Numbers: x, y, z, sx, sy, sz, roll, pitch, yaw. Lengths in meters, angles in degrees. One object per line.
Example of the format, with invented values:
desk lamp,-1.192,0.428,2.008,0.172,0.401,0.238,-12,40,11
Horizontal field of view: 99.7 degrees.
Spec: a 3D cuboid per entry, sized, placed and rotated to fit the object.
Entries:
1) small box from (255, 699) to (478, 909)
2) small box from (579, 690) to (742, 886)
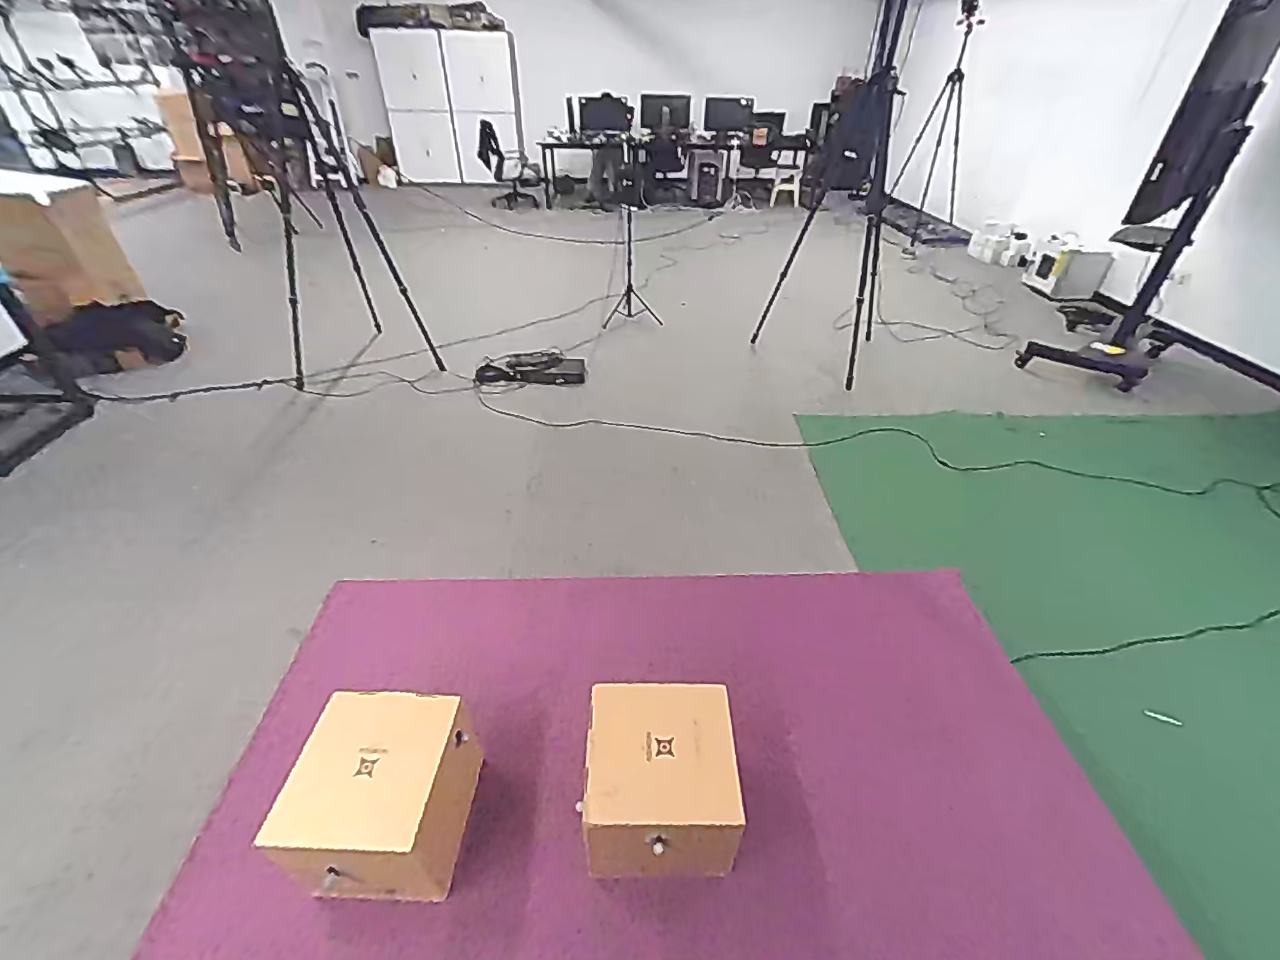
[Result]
small box,-0.311,0.397,0.665,0.168,0.176,0.179,1,36,2
small box,0.023,0.386,0.680,0.179,0.176,0.168,1,37,0
